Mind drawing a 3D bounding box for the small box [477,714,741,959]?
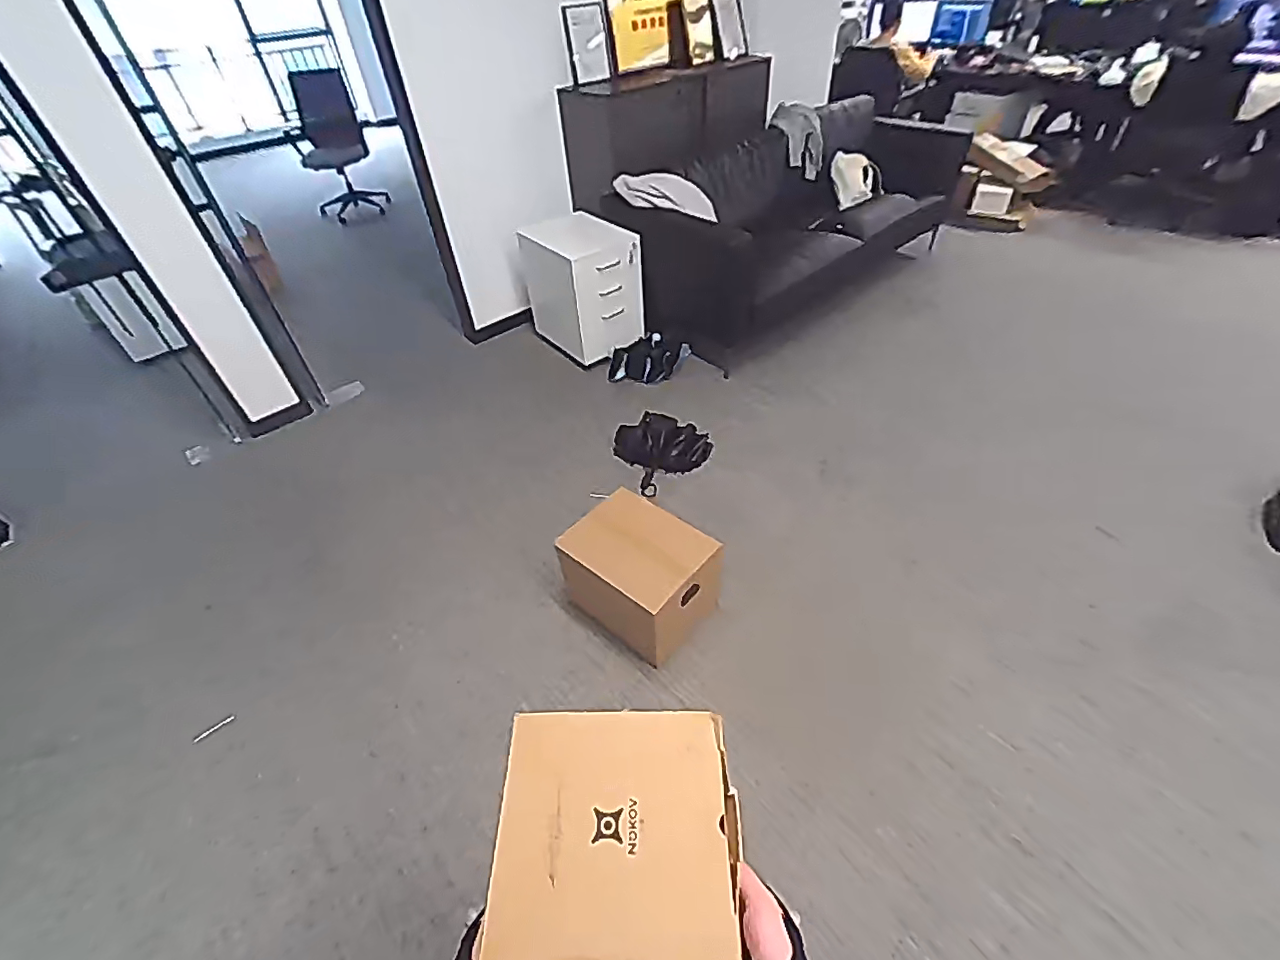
[{"bbox_3d":[-0.017,0.313,0.461,0.179,0.176,0.168,-3,47,3],"label":"small box"}]
